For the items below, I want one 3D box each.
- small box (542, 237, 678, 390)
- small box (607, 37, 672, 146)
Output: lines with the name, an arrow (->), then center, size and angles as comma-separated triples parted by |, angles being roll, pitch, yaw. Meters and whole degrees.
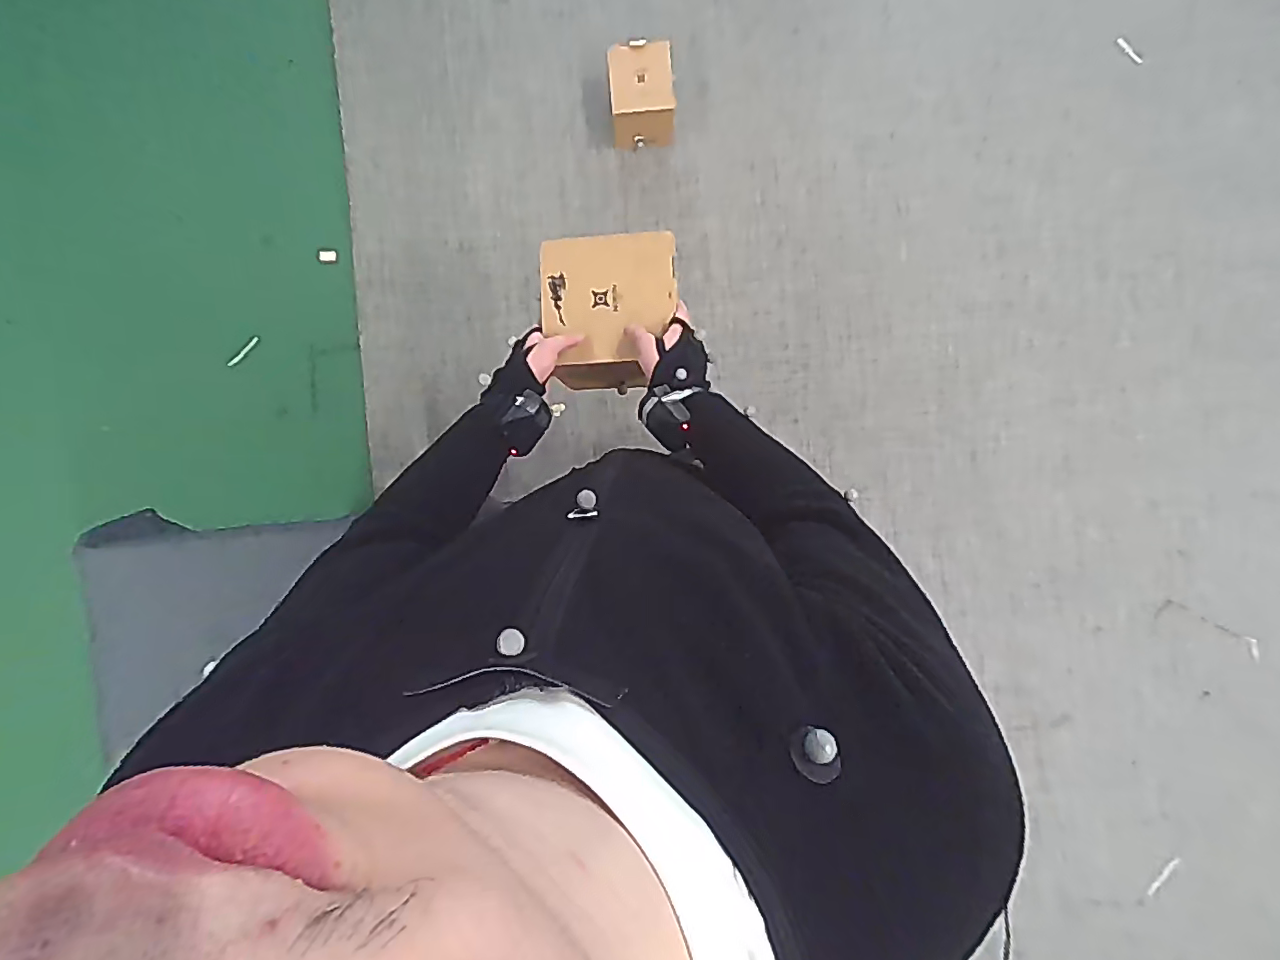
small box -> -0.035, -0.227, 0.774 | 0.179, 0.176, 0.168 | -1, 88, 4
small box -> 0.000, -1.043, 1.462 | 0.168, 0.176, 0.179 | -3, 91, 2
